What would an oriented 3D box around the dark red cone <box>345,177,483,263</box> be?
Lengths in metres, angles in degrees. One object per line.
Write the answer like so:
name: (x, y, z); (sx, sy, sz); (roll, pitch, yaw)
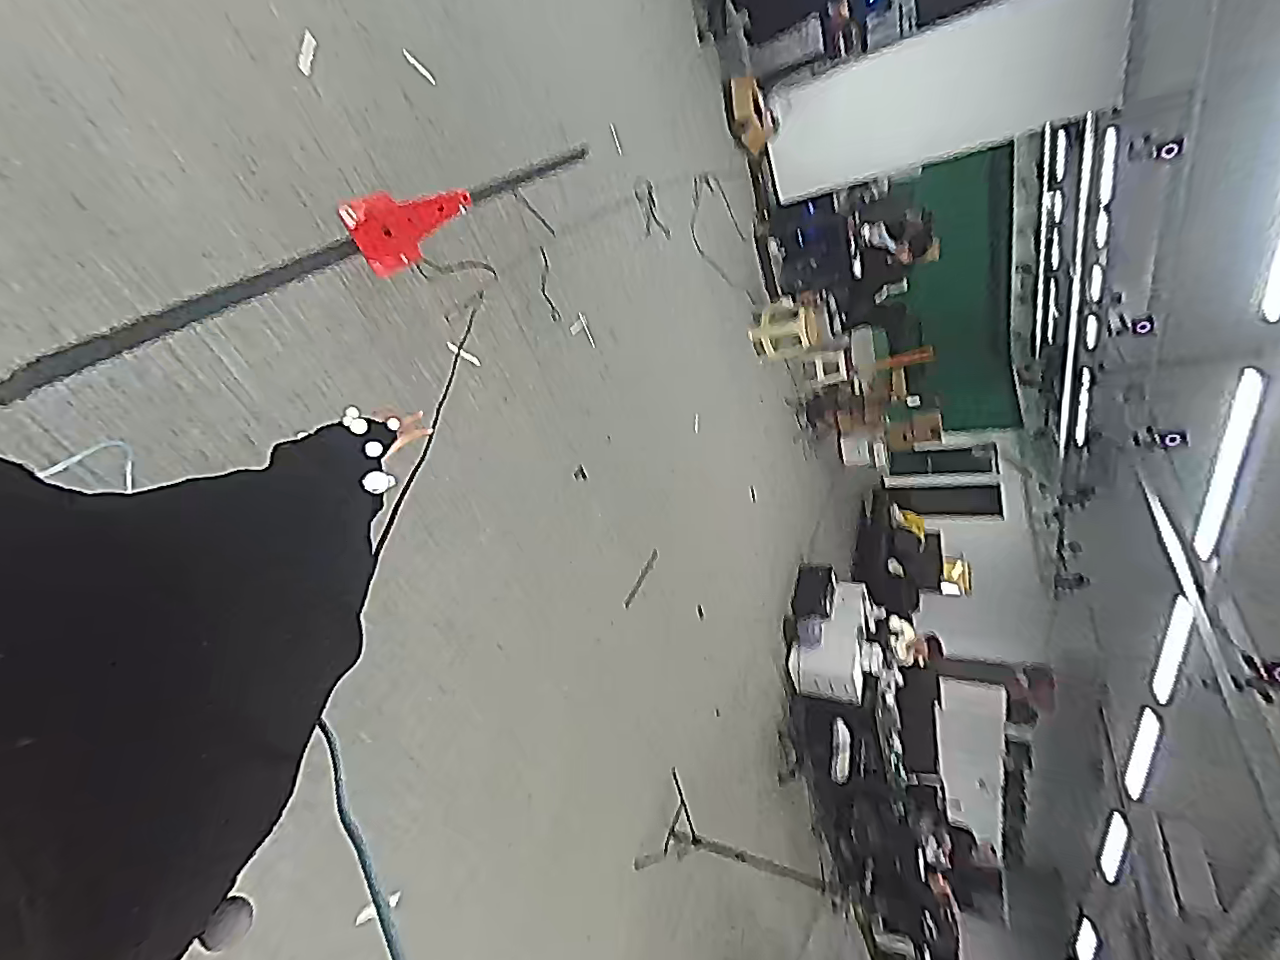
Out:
dark red cone: (-0.590, -0.753, 1.482); (0.202, 0.394, 0.201); (-59, 138, -43)
